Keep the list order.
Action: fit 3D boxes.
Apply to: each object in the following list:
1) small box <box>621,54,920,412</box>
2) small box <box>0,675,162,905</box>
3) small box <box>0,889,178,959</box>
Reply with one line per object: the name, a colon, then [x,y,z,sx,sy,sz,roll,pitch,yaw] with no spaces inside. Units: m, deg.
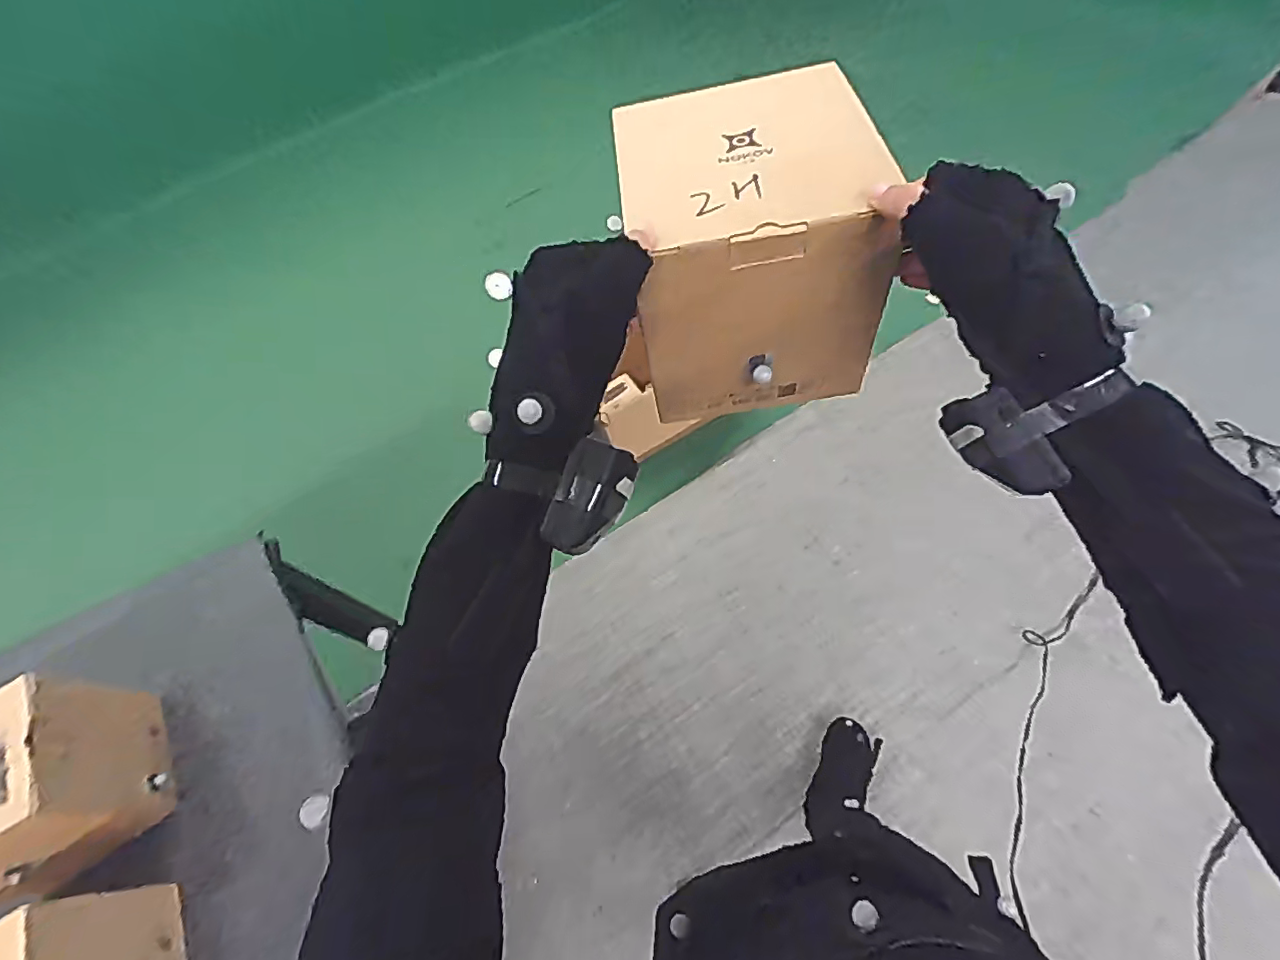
small box: [0.082,-0.178,0.416,0.168,0.176,0.179,-8,59,6]
small box: [-0.699,0.356,0.620,0.179,0.176,0.168,-34,61,-10]
small box: [-0.575,0.526,0.504,0.179,0.176,0.168,-33,61,-10]
